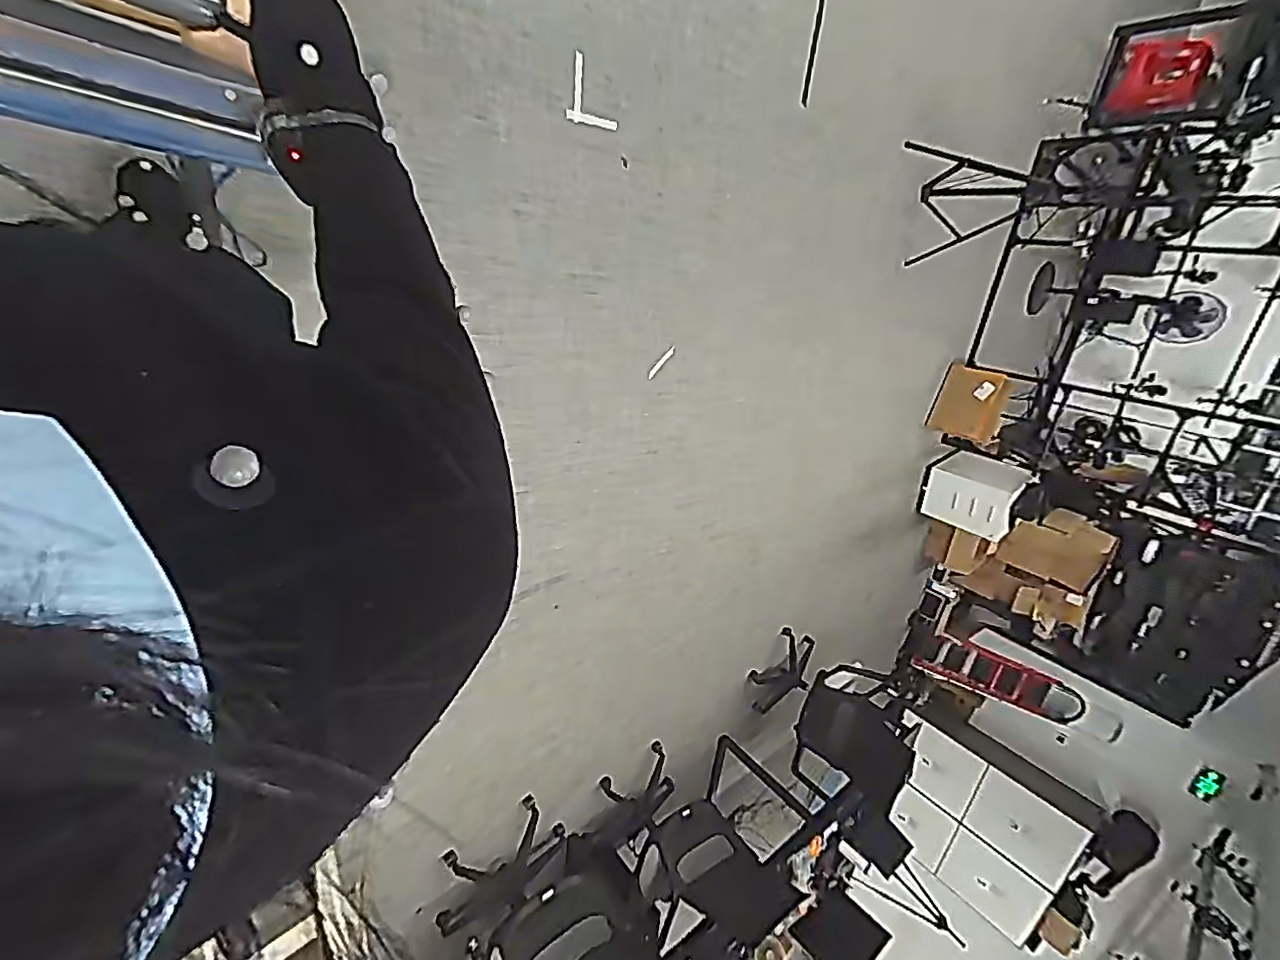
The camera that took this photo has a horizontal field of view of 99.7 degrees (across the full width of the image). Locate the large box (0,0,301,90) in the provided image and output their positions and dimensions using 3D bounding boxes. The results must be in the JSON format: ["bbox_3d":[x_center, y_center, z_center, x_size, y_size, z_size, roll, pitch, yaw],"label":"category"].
[{"bbox_3d":[-0.710,-0.749,0.684,0.408,0.320,0.320,-12,119,-40],"label":"large box"}]
